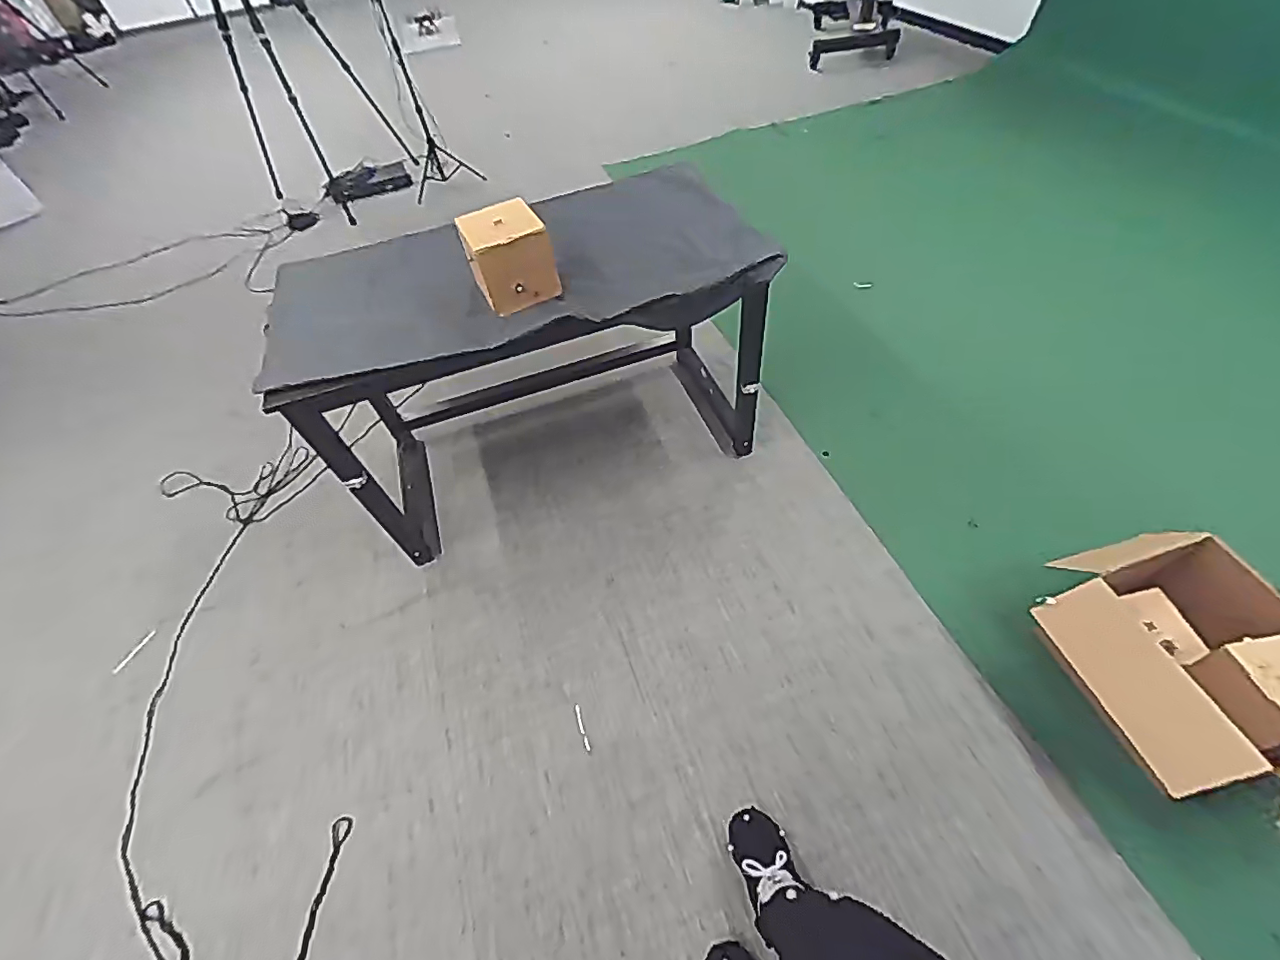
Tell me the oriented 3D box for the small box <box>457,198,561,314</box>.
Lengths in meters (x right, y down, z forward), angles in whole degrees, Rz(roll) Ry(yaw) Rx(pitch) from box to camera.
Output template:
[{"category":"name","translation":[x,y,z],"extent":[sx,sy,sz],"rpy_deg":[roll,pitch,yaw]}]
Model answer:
[{"category":"small box","translation":[-0.300,-0.517,1.256],"extent":[0.168,0.176,0.179],"rpy_deg":[-25,54,-12]}]
